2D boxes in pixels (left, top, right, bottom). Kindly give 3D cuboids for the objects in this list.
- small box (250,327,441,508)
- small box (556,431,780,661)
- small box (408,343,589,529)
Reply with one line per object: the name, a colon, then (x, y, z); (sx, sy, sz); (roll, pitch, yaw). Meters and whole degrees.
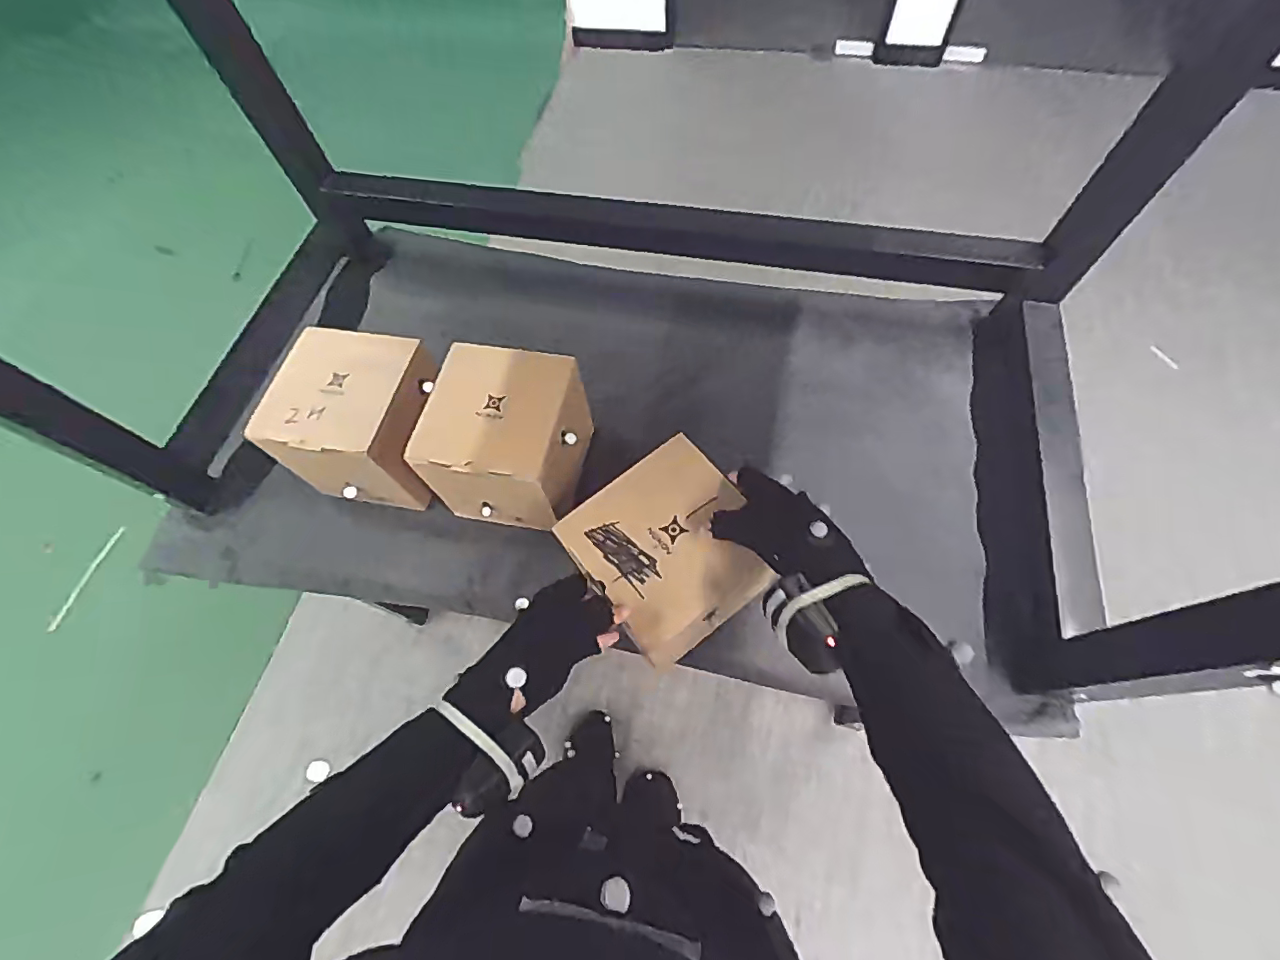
small box: (-0.372, -0.082, 0.748); (0.168, 0.176, 0.179); (8, 64, 8)
small box: (0.034, 0.084, 0.621); (0.179, 0.176, 0.168); (-37, 67, -13)
small box: (-0.171, -0.054, 0.724); (0.168, 0.176, 0.179); (9, 65, 8)
